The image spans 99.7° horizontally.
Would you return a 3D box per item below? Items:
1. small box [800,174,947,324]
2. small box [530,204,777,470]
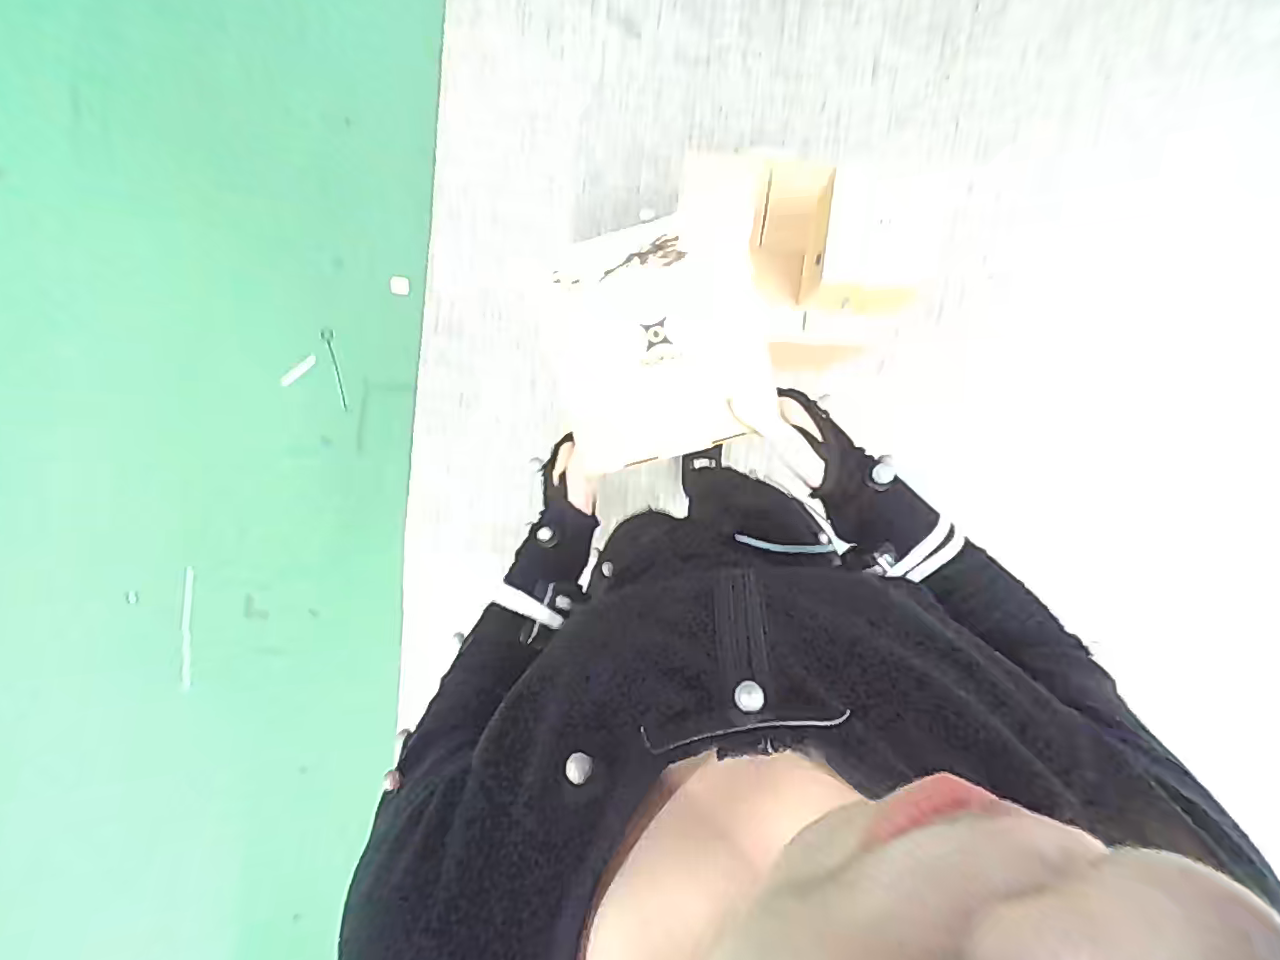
[{"bbox_3d":[0.365,-0.364,0.877,0.168,0.176,0.179,6,96,4],"label":"small box"},{"bbox_3d":[0.014,-0.127,0.503,0.168,0.176,0.179,-14,104,2],"label":"small box"}]
